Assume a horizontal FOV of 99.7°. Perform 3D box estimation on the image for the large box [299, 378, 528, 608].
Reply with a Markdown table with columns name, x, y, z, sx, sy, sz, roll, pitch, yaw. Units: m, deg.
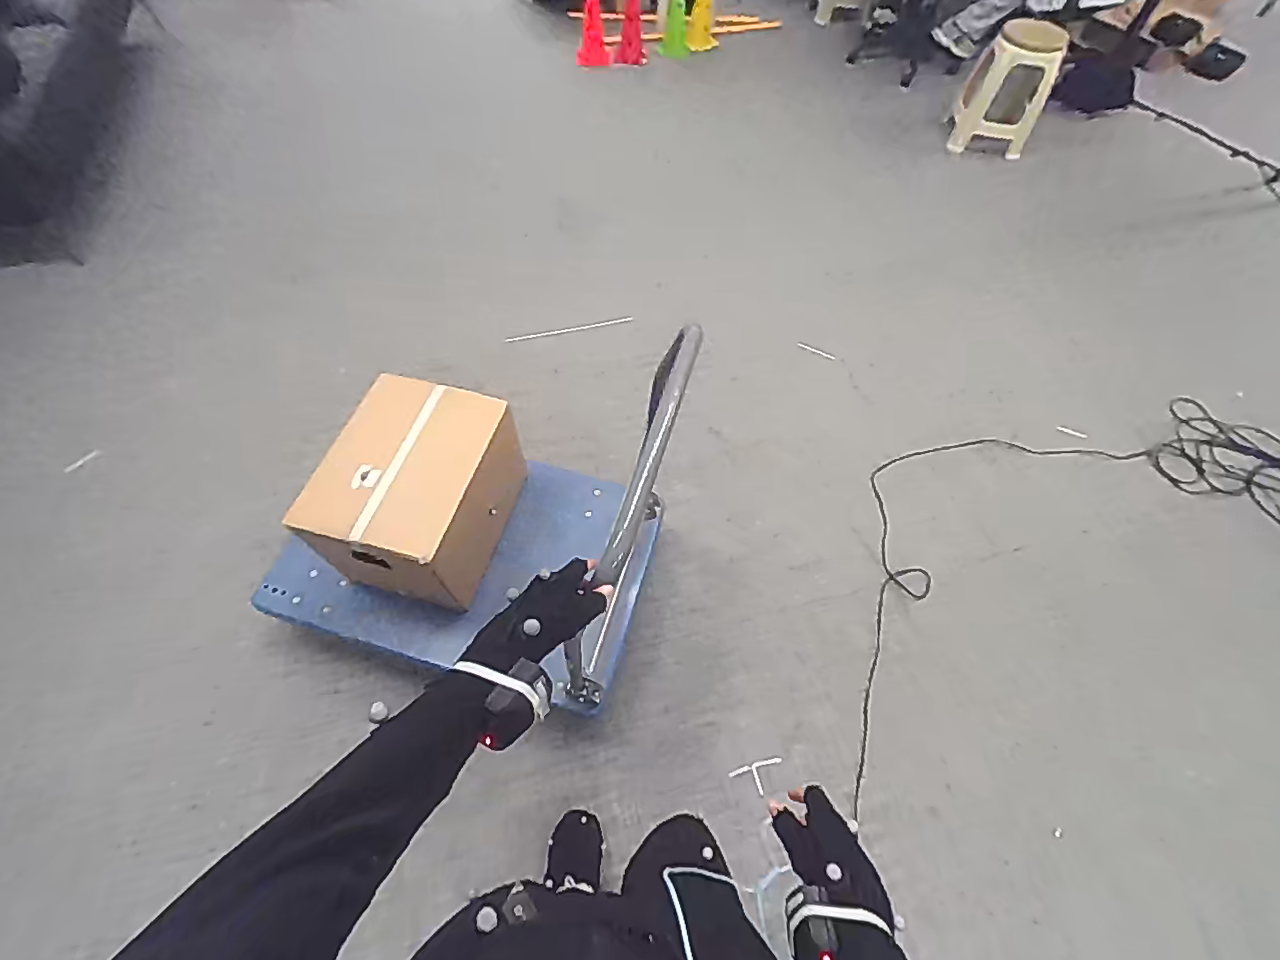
| name | x | y | z | sx | sy | sz | roll | pitch | yaw |
| --- | --- | --- | --- | --- | --- | --- | --- | --- | --- |
| large box | -0.483 | 0.035 | 1.266 | 0.320 | 0.320 | 0.408 | 12 | 60 | 5 |
